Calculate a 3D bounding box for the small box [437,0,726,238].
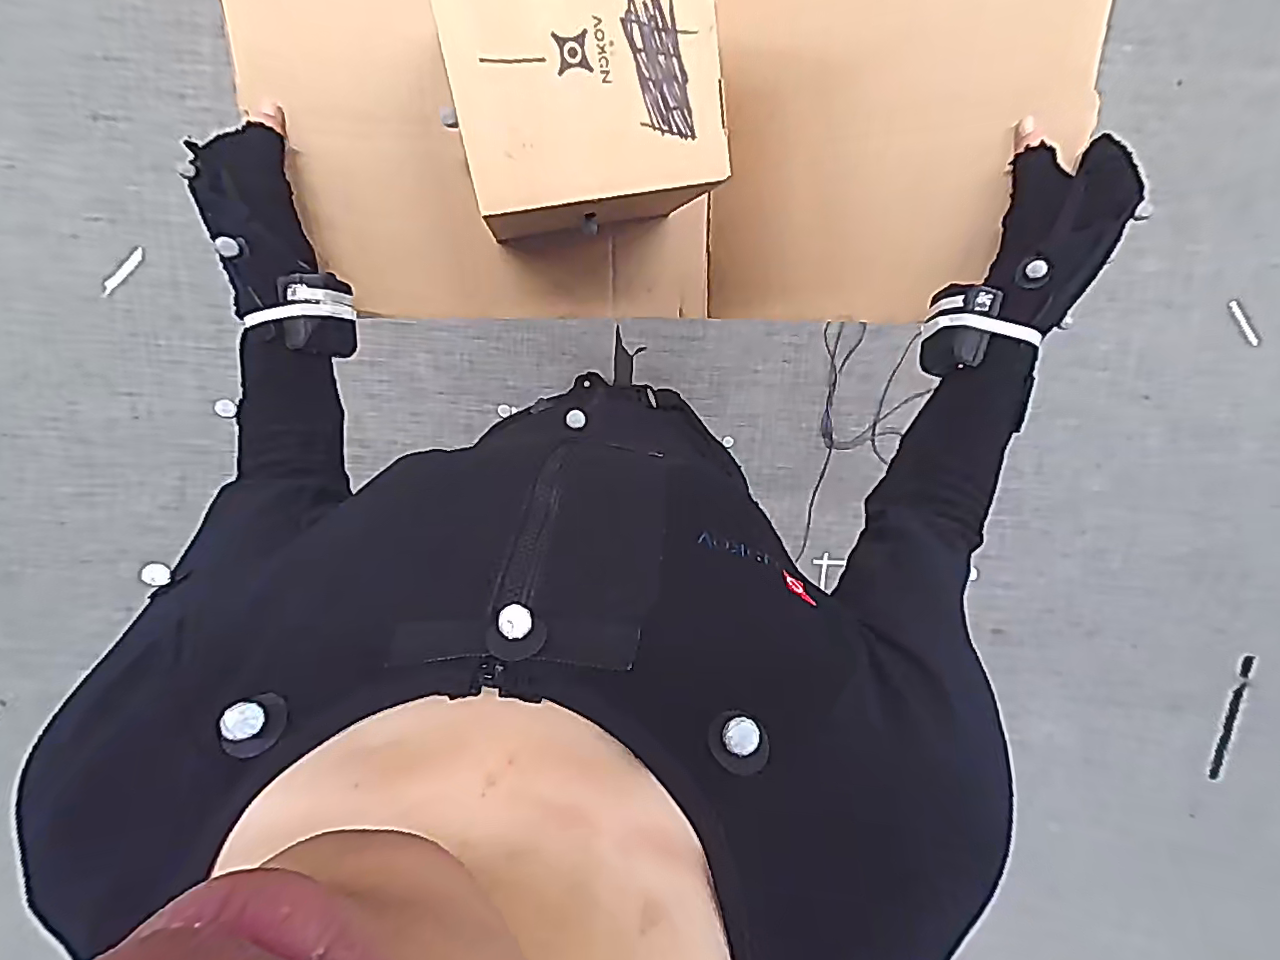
[{"bbox_3d":[-0.048,-0.295,0.423,0.179,0.176,0.168,-12,110,-7],"label":"small box"}]
